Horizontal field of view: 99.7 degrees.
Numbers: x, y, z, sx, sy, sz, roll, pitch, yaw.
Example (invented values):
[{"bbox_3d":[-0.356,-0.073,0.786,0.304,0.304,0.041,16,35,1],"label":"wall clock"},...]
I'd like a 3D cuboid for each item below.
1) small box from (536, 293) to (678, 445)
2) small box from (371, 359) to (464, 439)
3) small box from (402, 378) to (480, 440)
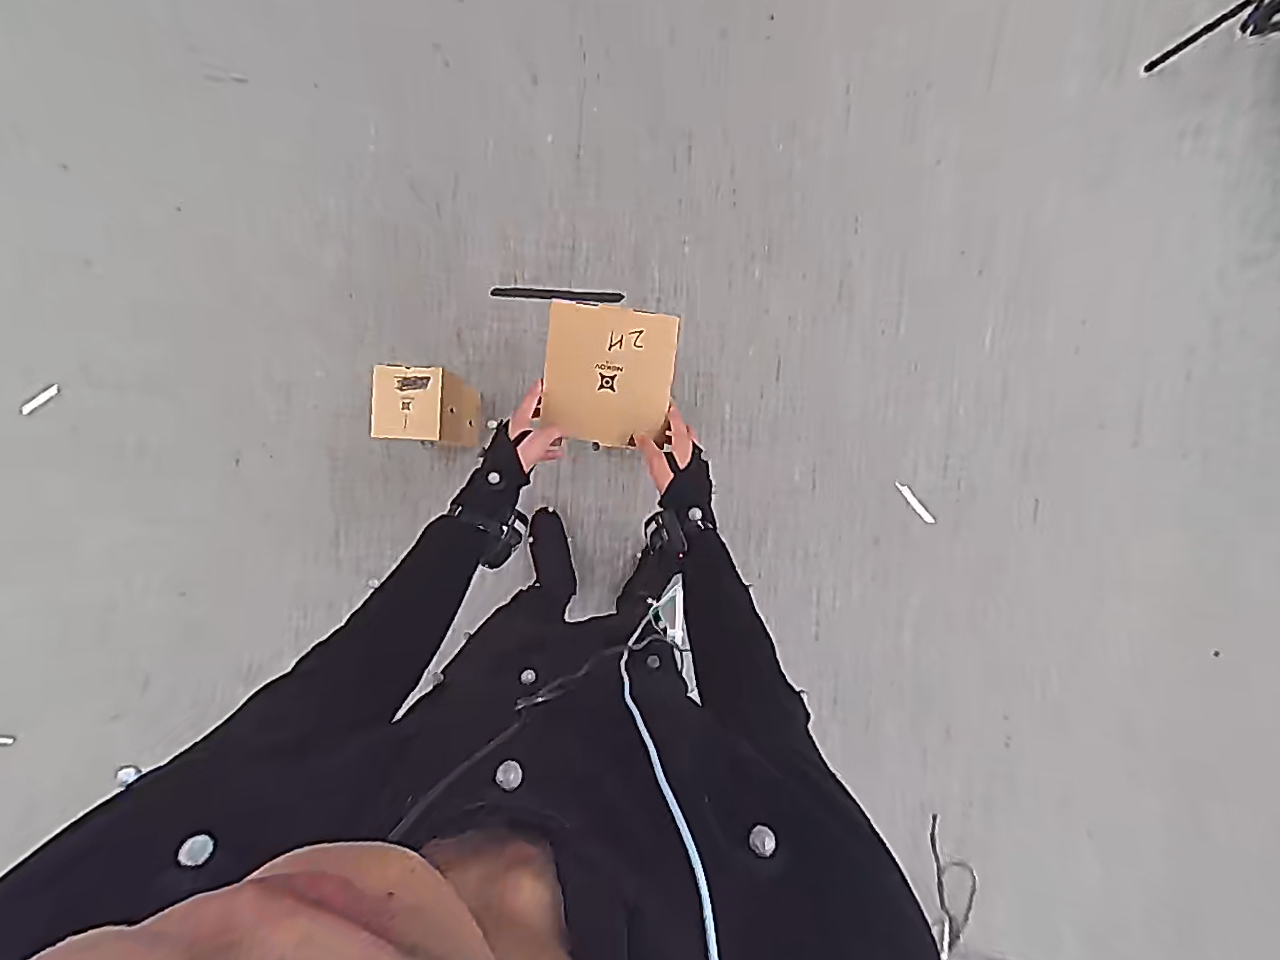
[{"bbox_3d":[-0.049,-0.149,0.768,0.168,0.176,0.179,6,96,-6],"label":"small box"},{"bbox_3d":[-0.551,-0.198,1.358,0.168,0.176,0.179,3,92,0],"label":"small box"},{"bbox_3d":[-0.559,-0.200,1.523,0.179,0.176,0.168,3,92,0],"label":"small box"}]
